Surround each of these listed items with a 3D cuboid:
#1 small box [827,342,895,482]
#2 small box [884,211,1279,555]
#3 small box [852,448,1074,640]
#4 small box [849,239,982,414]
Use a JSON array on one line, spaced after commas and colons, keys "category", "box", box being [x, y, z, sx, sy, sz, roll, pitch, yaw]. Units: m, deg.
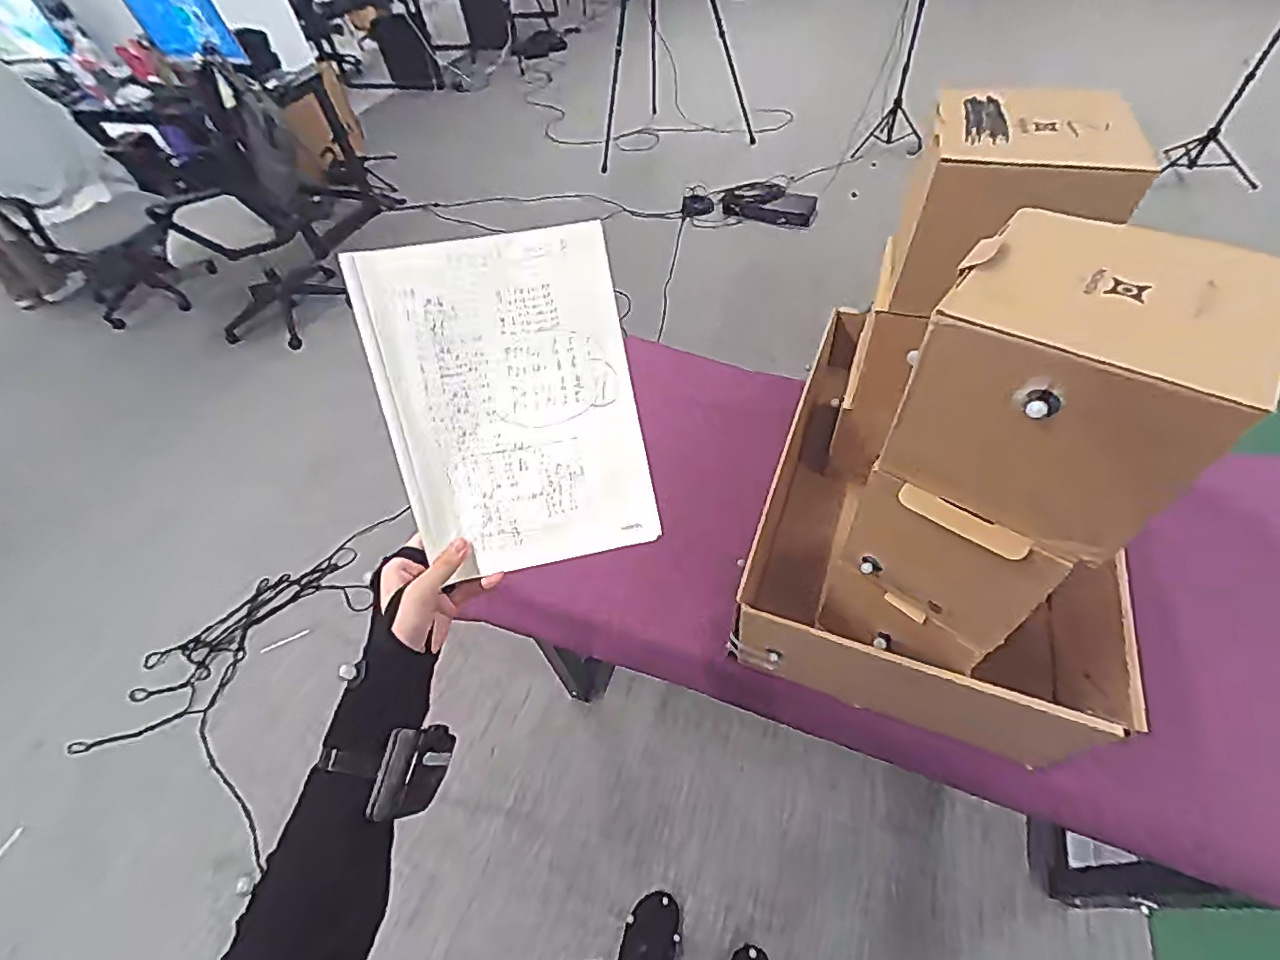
[{"category": "small box", "box": [0.400, -0.098, 0.846, 0.168, 0.176, 0.179, 15, 57, 18]}, {"category": "small box", "box": [0.317, -0.073, 0.414, 0.179, 0.176, 0.168, 31, 61, 29]}, {"category": "small box", "box": [0.334, 0.026, 0.542, 0.168, 0.176, 0.179, 33, 61, 30]}, {"category": "small box", "box": [0.387, -0.192, 0.715, 0.179, 0.176, 0.168, 13, 56, 16]}]
